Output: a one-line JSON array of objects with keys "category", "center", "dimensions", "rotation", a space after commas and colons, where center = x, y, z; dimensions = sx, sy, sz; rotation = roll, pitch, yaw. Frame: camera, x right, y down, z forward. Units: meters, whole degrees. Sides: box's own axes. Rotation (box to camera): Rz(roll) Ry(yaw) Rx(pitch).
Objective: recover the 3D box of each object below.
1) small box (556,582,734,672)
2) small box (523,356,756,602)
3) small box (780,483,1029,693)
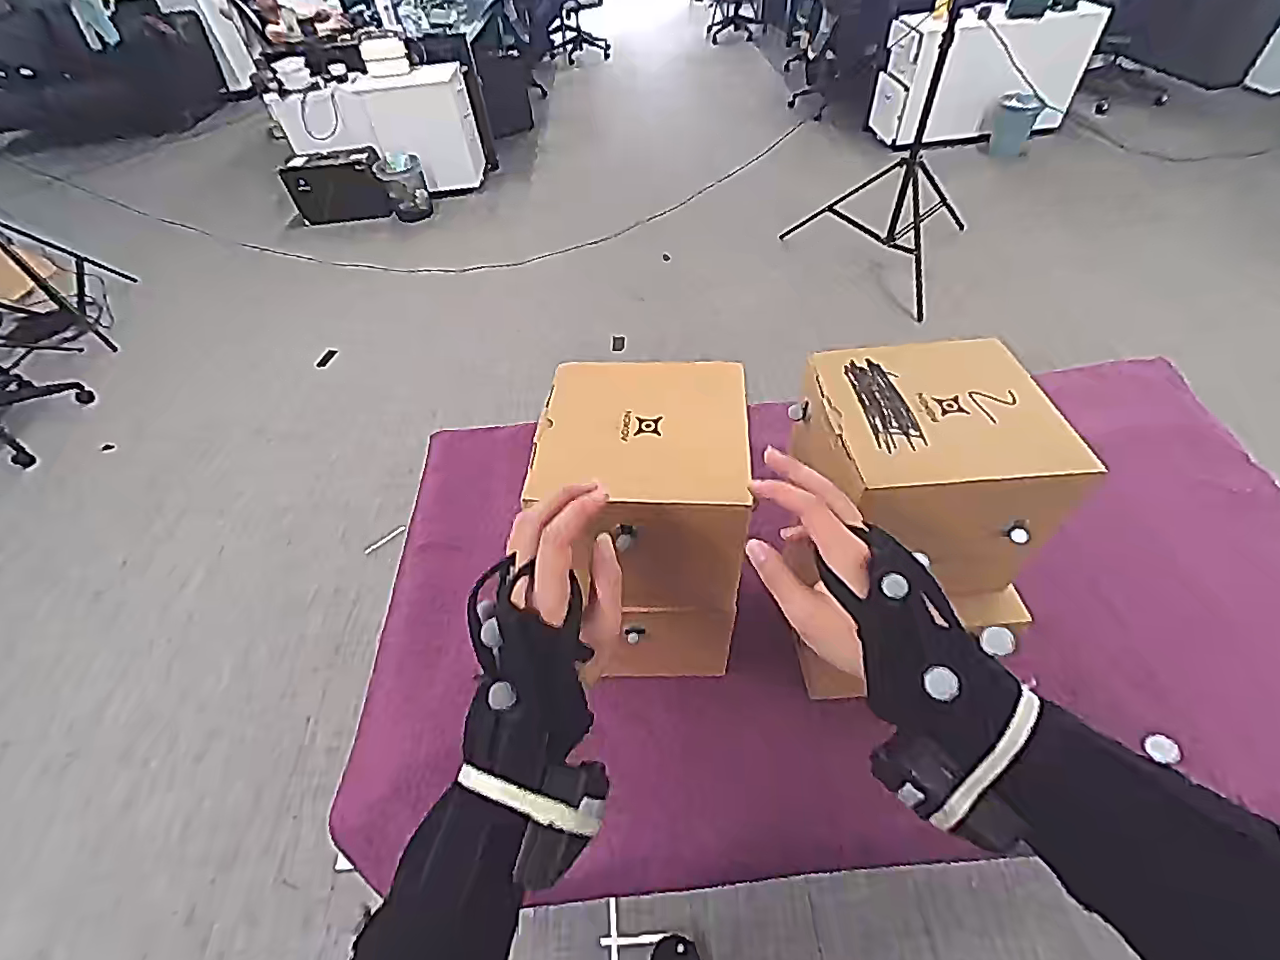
[{"category": "small box", "center": [0.010, 0.114, 0.629], "dimensions": [0.179, 0.176, 0.168], "rotation": [-1, 49, 3]}, {"category": "small box", "center": [0.008, 0.003, 0.510], "dimensions": [0.179, 0.176, 0.168], "rotation": [1, 49, 6]}, {"category": "small box", "center": [0.268, 0.123, 0.599], "dimensions": [0.179, 0.176, 0.168], "rotation": [-5, 48, 1]}]
